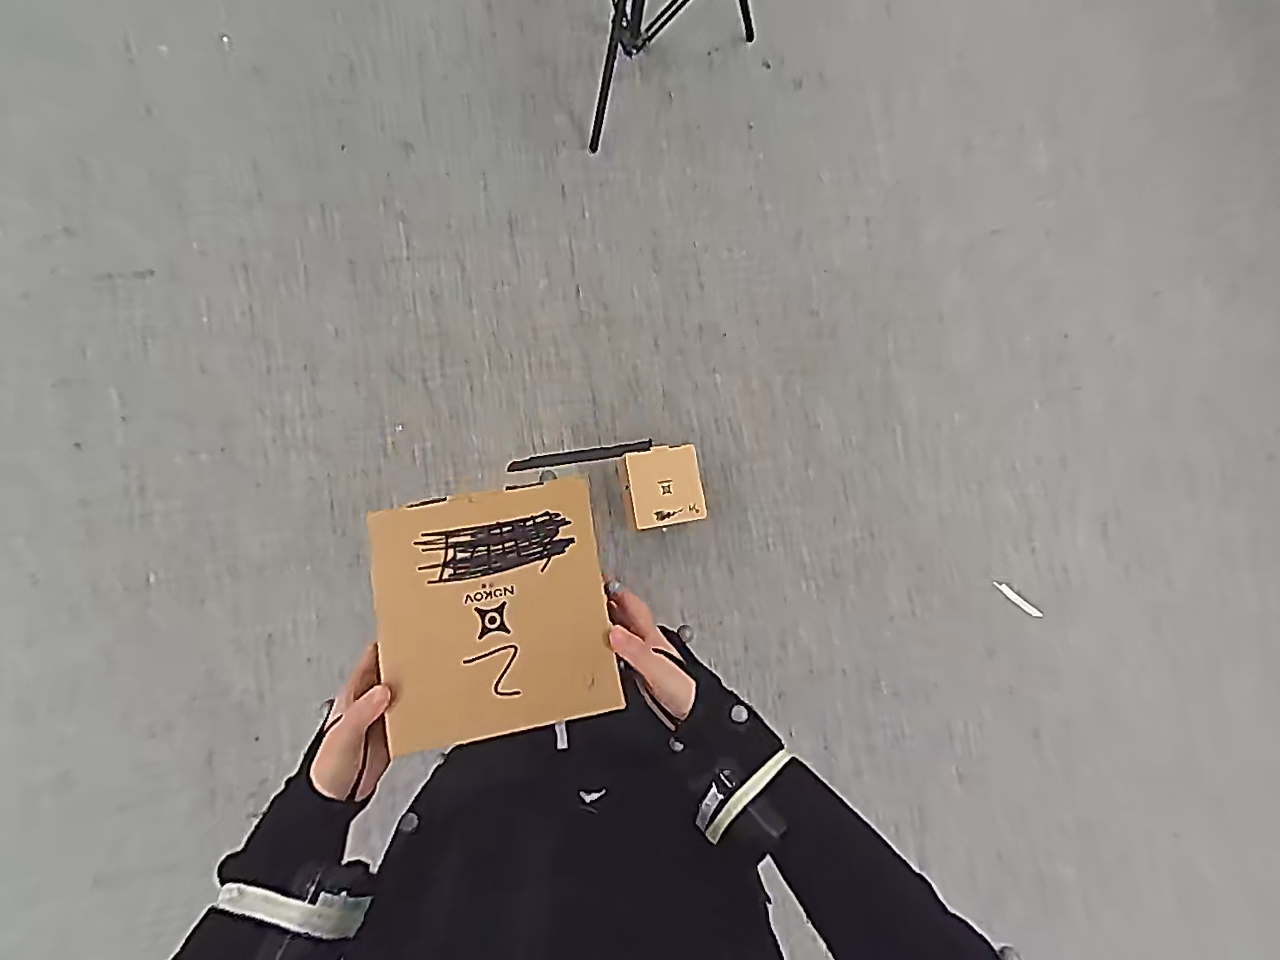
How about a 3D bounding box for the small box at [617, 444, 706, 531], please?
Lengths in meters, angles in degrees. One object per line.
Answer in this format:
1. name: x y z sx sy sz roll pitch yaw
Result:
1. small box: 0.045 0.022 1.294 0.168 0.176 0.179 -9 85 -9
